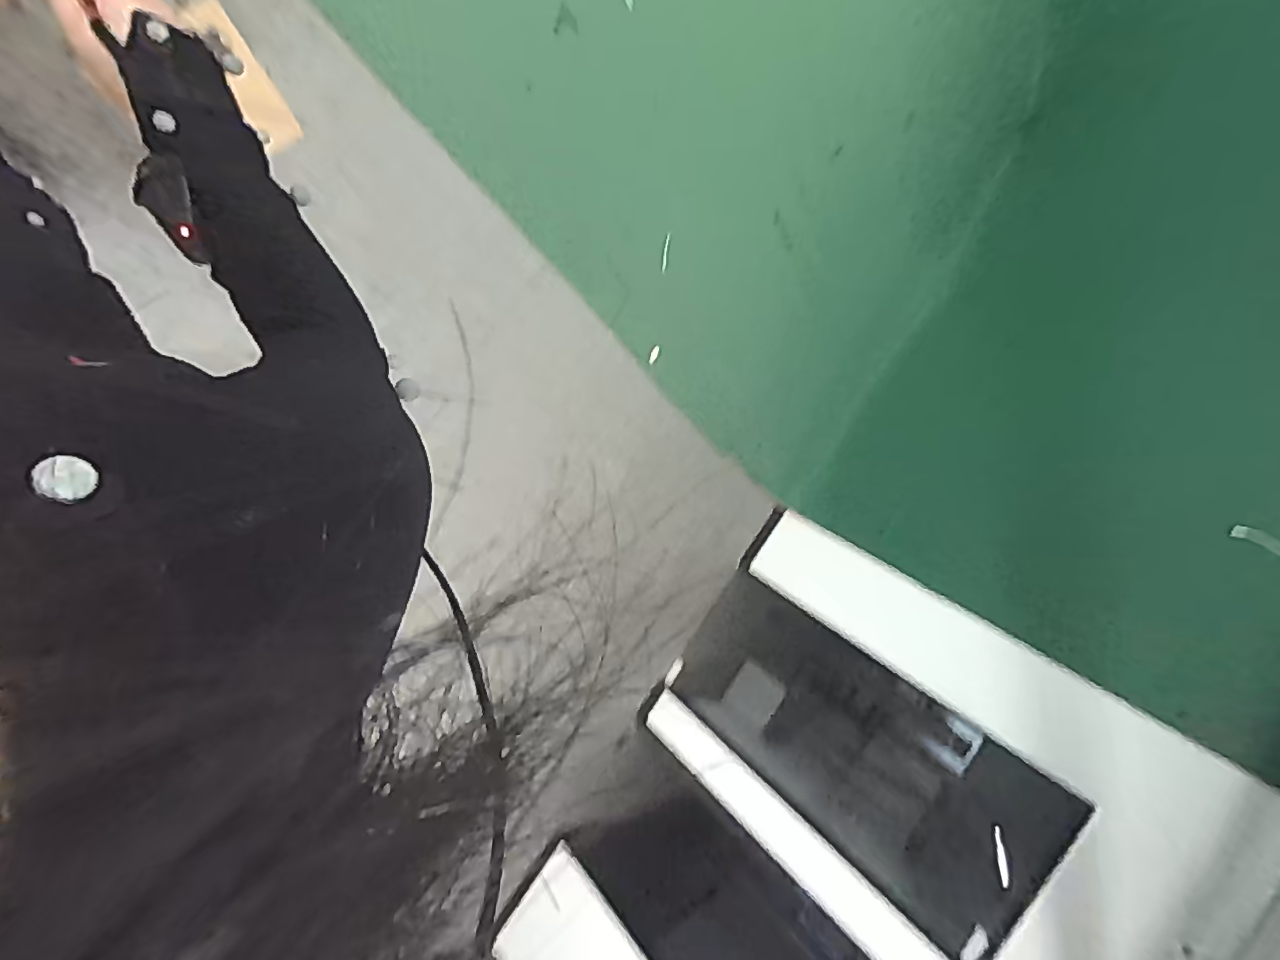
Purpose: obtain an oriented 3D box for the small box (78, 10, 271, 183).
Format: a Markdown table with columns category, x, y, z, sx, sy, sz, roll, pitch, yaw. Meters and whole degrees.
| category | x | y | z | sx | sy | sz | roll | pitch | yaw |
| --- | --- | --- | --- | --- | --- | --- | --- | --- | --- |
| small box | -0.778 | -0.642 | 0.908 | 0.168 | 0.176 | 0.179 | -49 | 143 | -9 |
